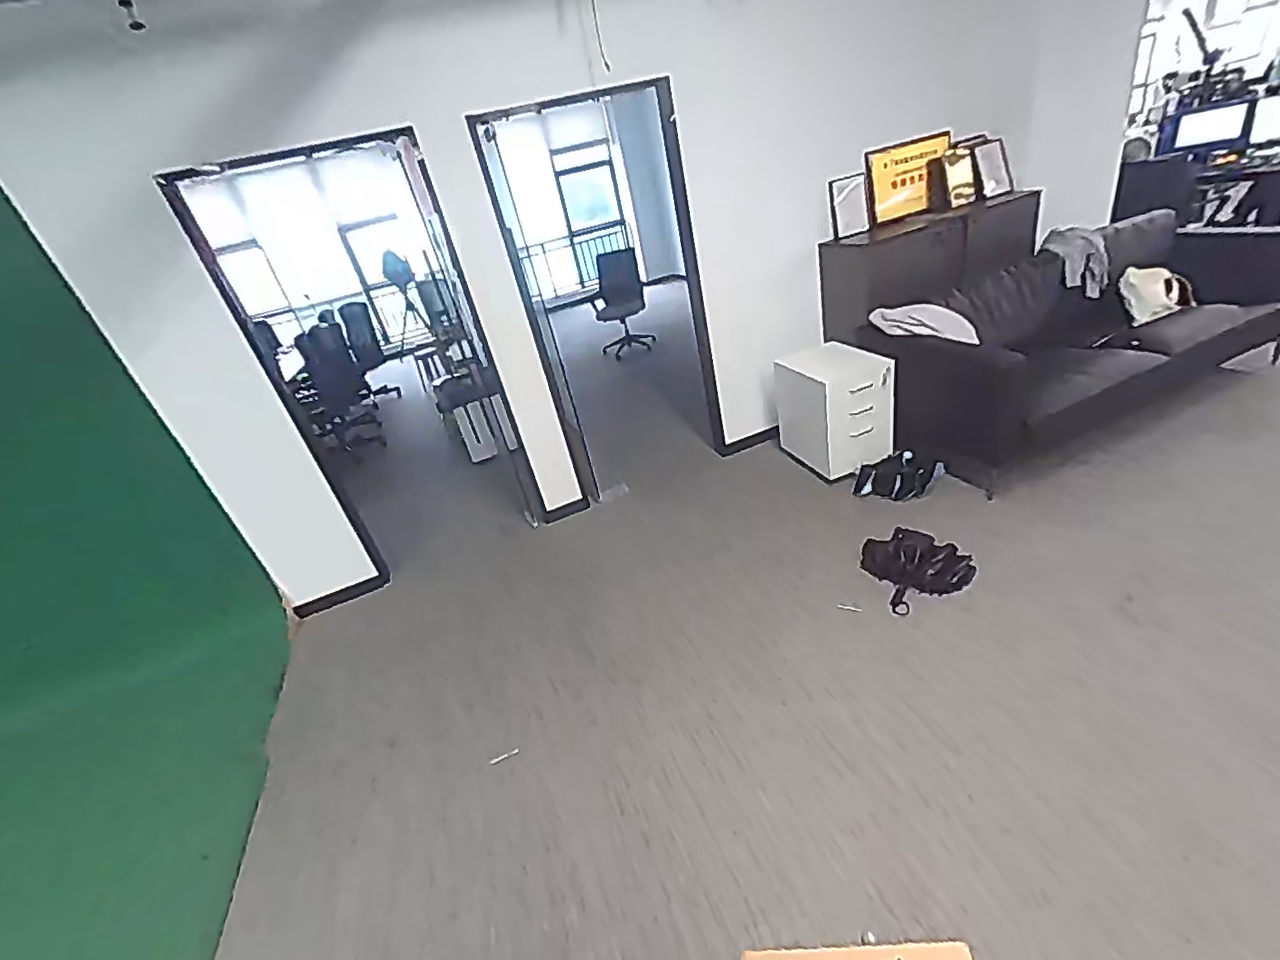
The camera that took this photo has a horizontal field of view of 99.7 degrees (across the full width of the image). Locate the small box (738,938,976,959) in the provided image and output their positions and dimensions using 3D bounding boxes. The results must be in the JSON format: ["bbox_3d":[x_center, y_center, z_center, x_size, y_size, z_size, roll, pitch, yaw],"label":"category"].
[{"bbox_3d":[0.167,0.450,0.366,0.168,0.176,0.179,-9,33,8],"label":"small box"}]
